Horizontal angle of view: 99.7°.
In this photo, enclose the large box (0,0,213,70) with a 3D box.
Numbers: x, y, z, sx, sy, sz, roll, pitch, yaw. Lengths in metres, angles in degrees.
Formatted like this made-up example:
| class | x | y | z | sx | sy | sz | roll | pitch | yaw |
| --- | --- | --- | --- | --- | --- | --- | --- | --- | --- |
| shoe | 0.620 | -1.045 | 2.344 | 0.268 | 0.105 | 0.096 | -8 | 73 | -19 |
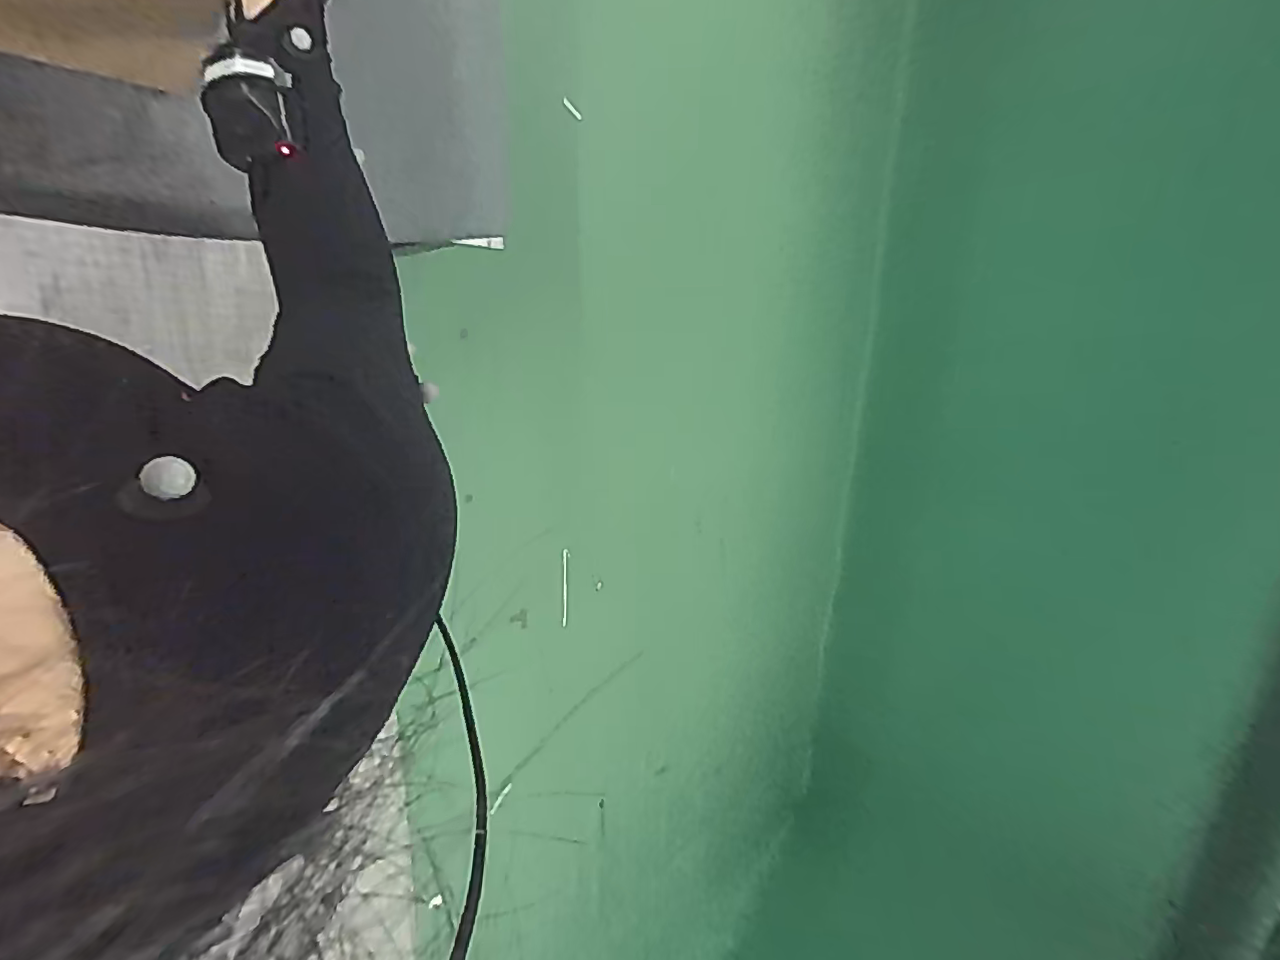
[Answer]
| class | x | y | z | sx | sy | sz | roll | pitch | yaw |
| --- | --- | --- | --- | --- | --- | --- | --- | --- | --- |
| large box | -0.505 | -0.491 | 0.280 | 0.408 | 0.320 | 0.320 | -17 | 114 | -44 |
